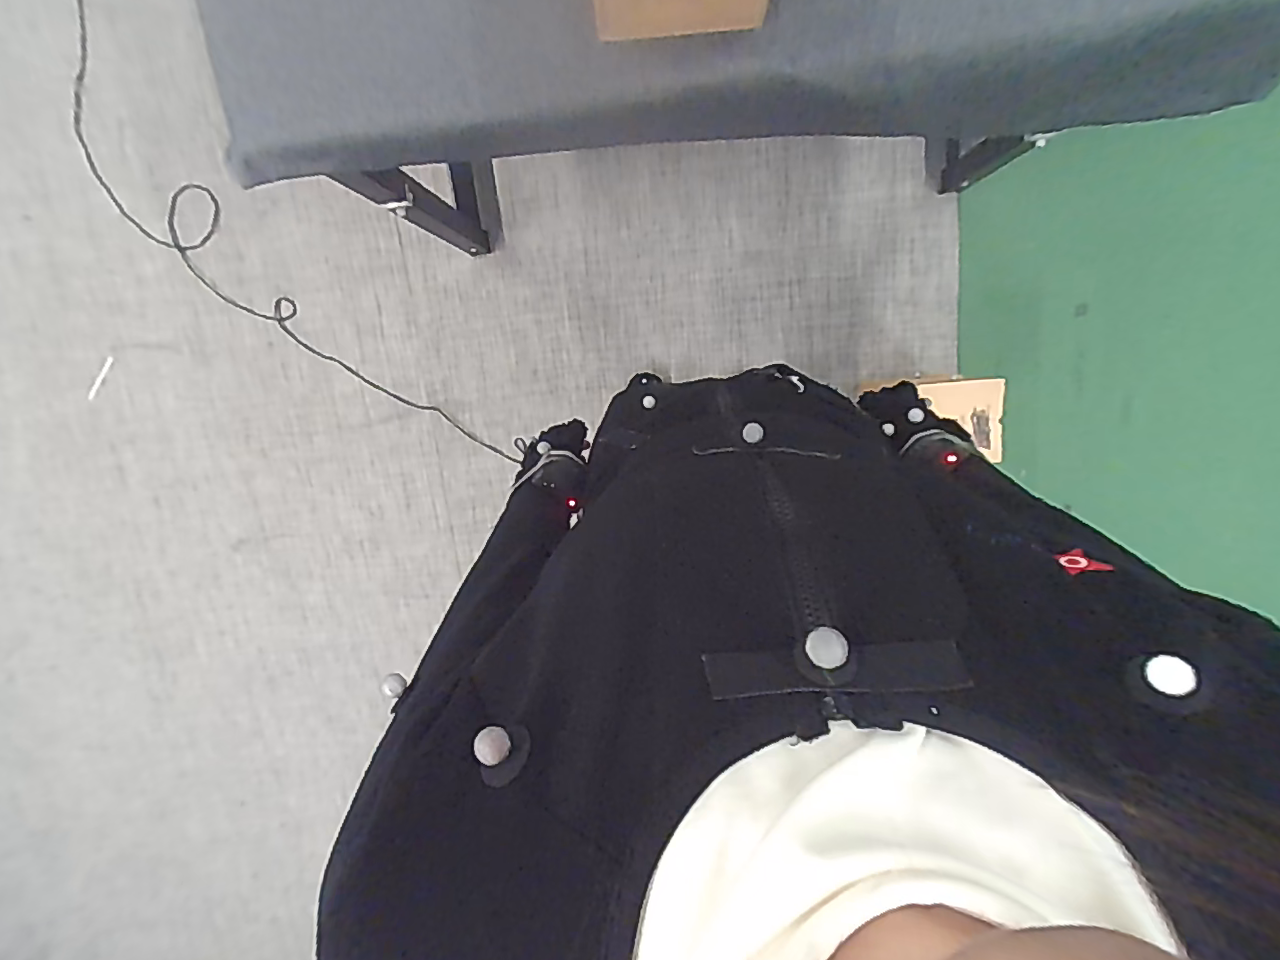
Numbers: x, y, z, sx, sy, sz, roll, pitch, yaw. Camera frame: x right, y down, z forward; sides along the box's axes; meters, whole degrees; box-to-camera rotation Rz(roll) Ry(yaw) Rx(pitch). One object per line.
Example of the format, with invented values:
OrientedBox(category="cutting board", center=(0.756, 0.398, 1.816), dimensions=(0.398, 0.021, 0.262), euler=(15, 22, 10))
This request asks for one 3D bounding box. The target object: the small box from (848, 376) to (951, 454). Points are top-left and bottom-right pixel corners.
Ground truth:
OrientedBox(category="small box", center=(0.617, -0.160, 1.299), dimensions=(0.179, 0.176, 0.168), euler=(-5, 100, 5))

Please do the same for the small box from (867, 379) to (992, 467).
OrientedBox(category="small box", center=(0.600, -0.124, 1.139), dimensions=(0.179, 0.176, 0.168), euler=(-3, 100, 4))

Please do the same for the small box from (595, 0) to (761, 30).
OrientedBox(category="small box", center=(0.035, -0.551, 0.490), dimensions=(0.179, 0.176, 0.168), euler=(-2, 101, 3))
